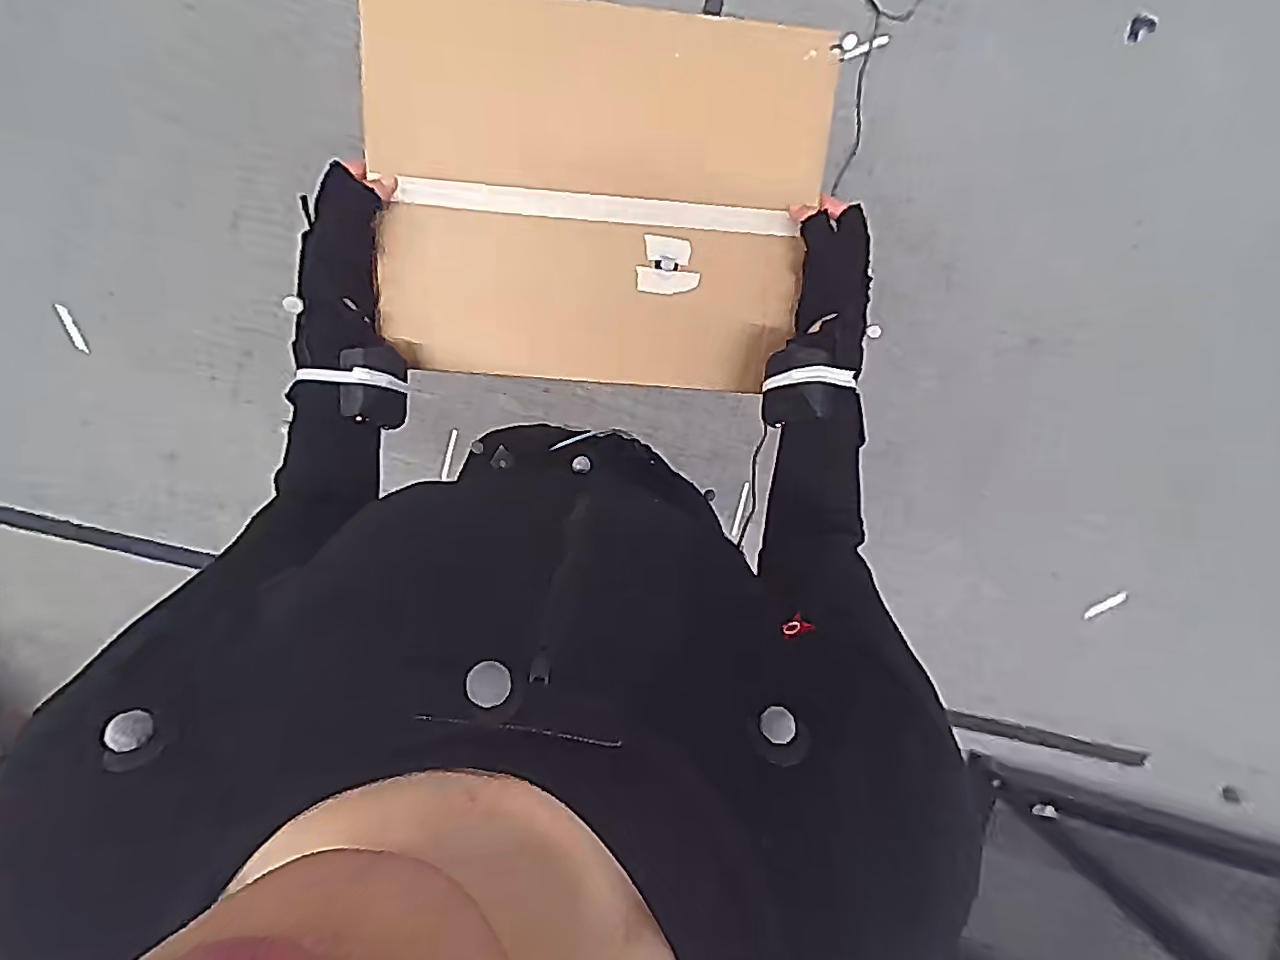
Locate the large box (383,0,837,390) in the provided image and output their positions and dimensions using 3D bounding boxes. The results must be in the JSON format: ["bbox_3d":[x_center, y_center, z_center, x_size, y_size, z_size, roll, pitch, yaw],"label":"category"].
[{"bbox_3d":[-0.041,-0.289,0.649,0.408,0.320,0.320,4,106,-5],"label":"large box"}]
